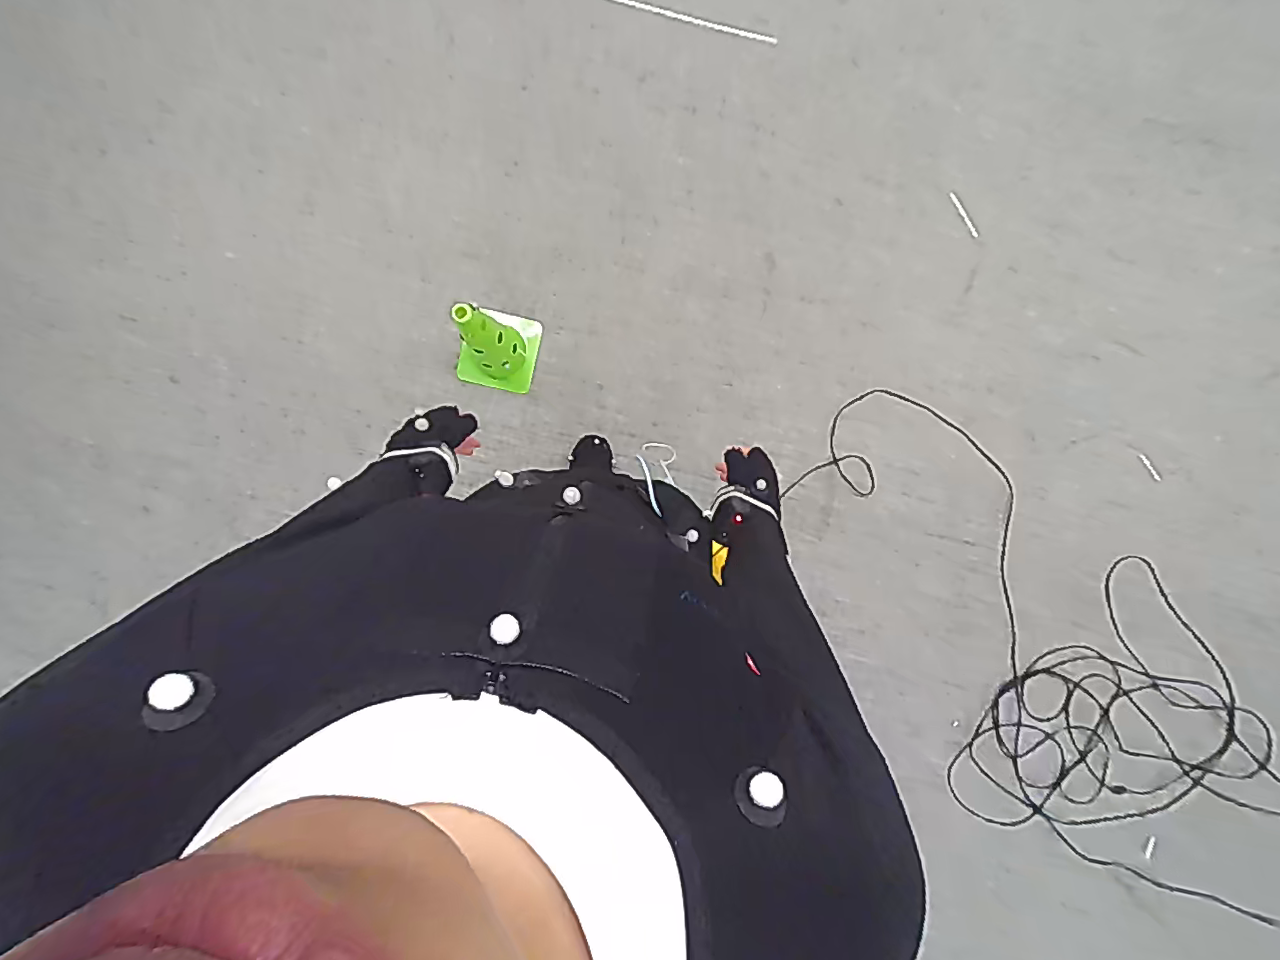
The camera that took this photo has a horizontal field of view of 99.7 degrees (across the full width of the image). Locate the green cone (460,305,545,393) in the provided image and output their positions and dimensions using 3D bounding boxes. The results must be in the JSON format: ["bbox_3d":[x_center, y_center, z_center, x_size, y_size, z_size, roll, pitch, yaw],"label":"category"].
[{"bbox_3d":[-0.360,-0.342,1.281,0.202,0.368,0.200,13,92,-3],"label":"green cone"}]
